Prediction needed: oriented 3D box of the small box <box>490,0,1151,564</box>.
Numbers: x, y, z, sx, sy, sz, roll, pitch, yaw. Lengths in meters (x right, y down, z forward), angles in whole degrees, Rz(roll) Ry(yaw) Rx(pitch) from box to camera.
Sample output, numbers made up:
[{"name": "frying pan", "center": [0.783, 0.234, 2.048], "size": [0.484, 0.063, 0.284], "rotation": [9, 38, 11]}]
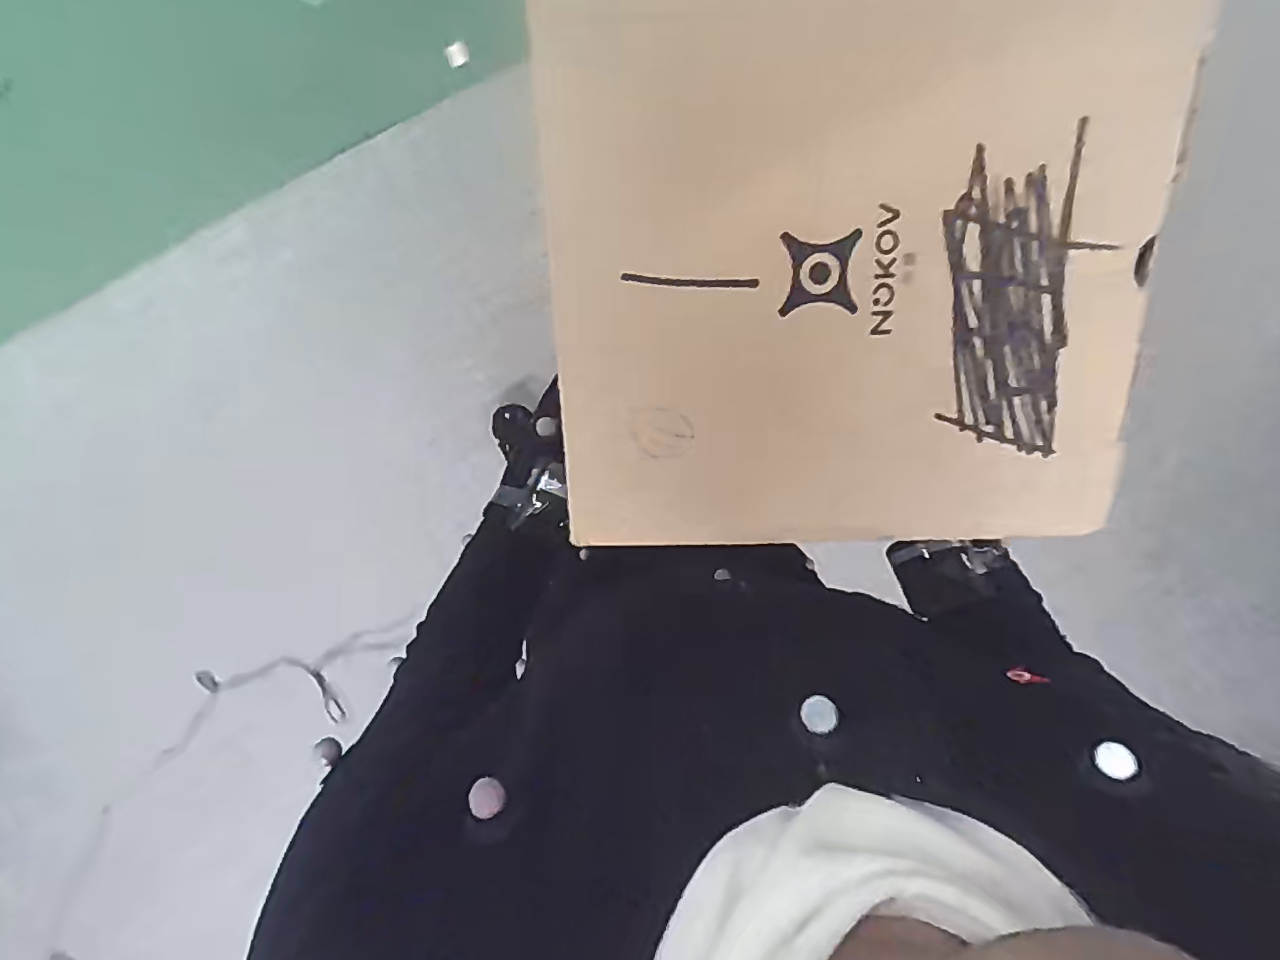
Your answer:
[{"name": "small box", "center": [0.053, -0.080, 0.239], "size": [0.179, 0.176, 0.168], "rotation": [-6, 107, 3]}]
